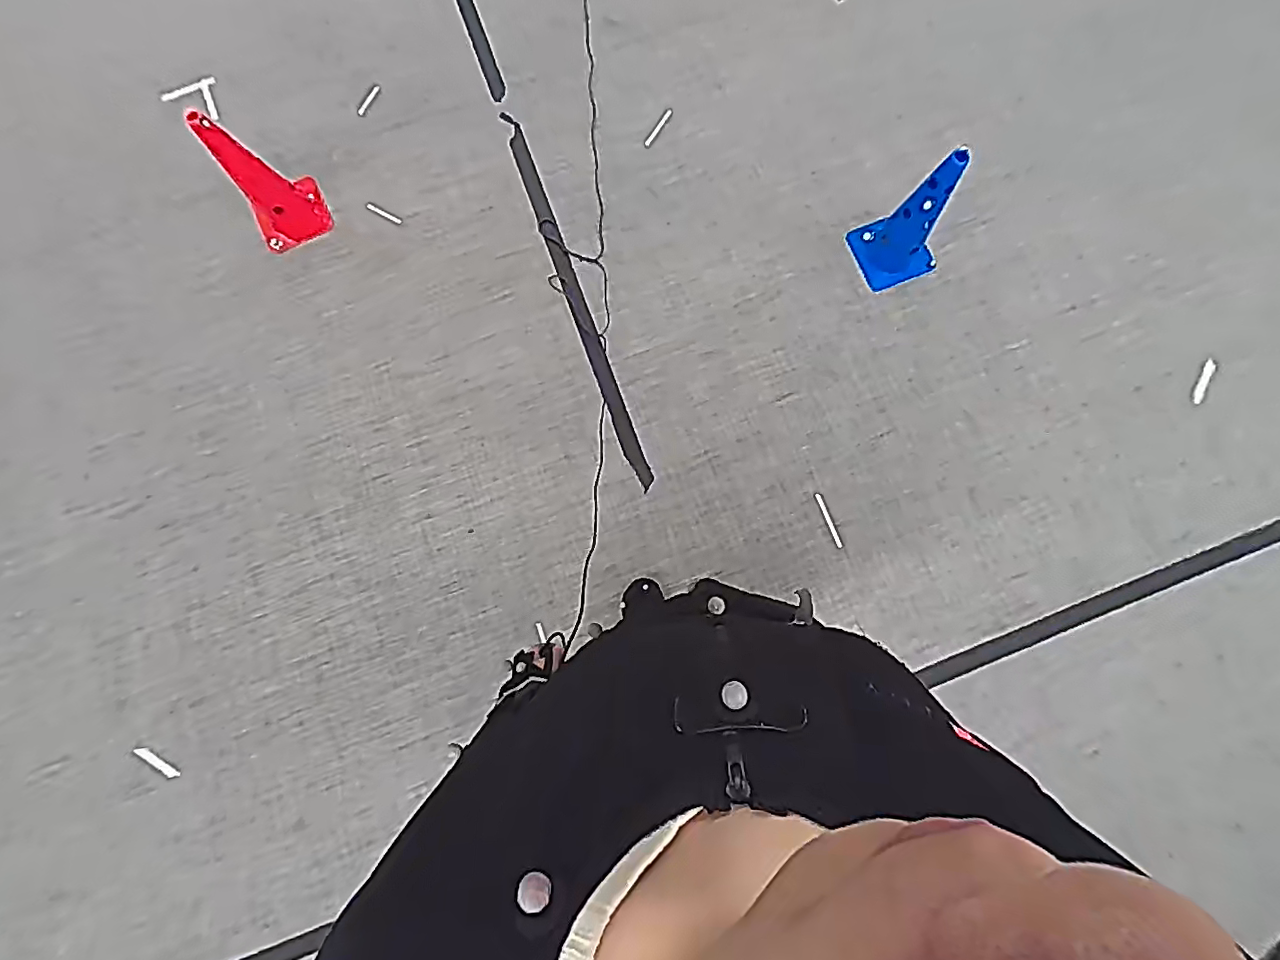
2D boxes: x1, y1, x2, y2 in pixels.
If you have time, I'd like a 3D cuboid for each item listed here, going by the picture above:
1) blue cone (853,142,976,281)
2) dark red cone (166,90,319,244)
[{"bbox_3d":[0.708,-0.688,1.361,0.192,0.380,0.193,-20,80,-3],"label":"blue cone"},{"bbox_3d":[-1.046,-0.824,1.405,0.201,0.394,0.202,-28,80,-5],"label":"dark red cone"}]
